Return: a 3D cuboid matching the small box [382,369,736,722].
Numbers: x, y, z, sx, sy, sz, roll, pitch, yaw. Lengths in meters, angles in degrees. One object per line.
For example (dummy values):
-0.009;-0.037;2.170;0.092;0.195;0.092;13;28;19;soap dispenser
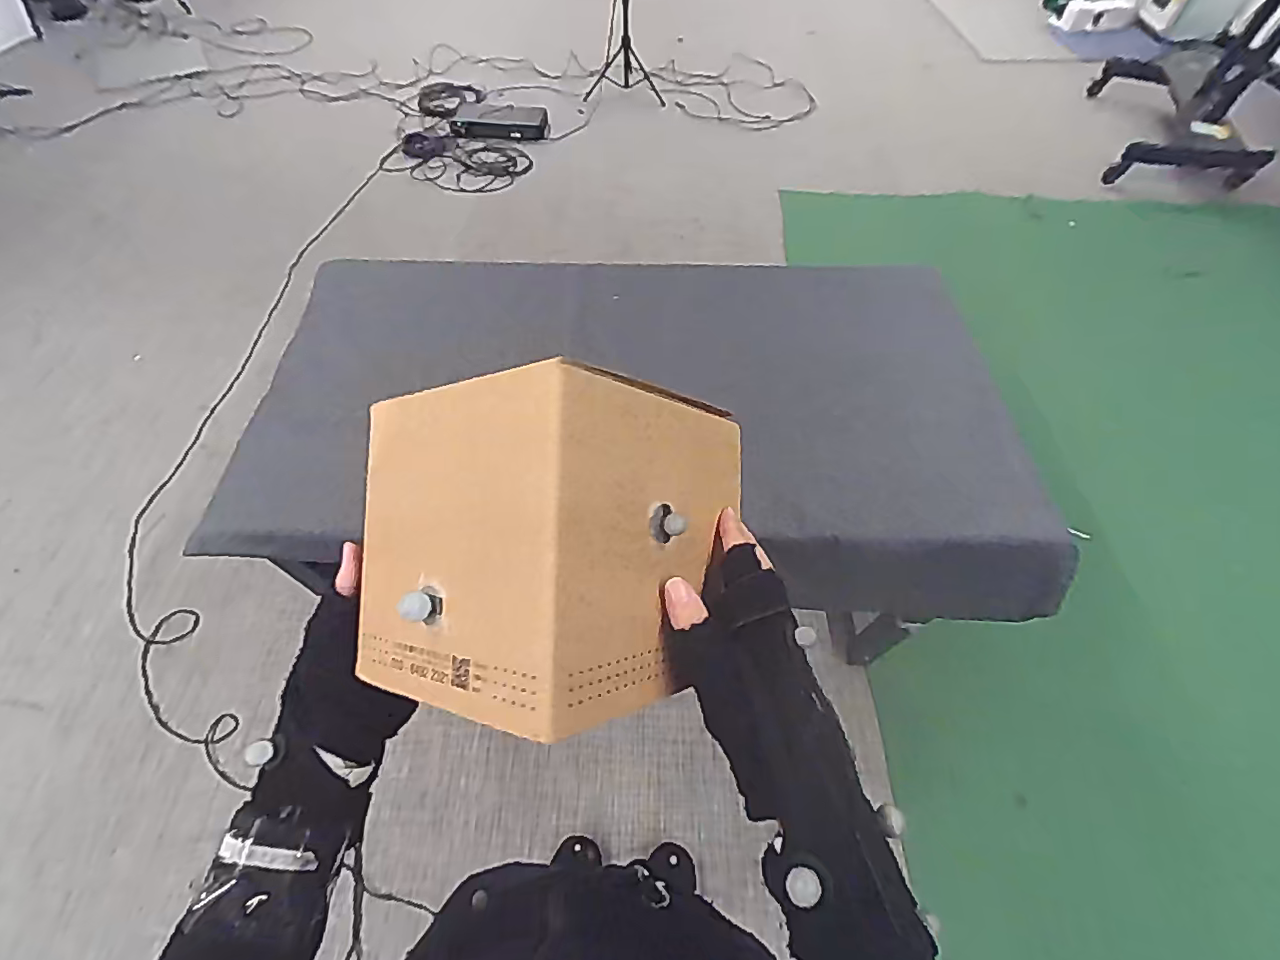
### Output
-0.049;0.038;0.362;0.168;0.179;0.176;-3;85;36;small box
